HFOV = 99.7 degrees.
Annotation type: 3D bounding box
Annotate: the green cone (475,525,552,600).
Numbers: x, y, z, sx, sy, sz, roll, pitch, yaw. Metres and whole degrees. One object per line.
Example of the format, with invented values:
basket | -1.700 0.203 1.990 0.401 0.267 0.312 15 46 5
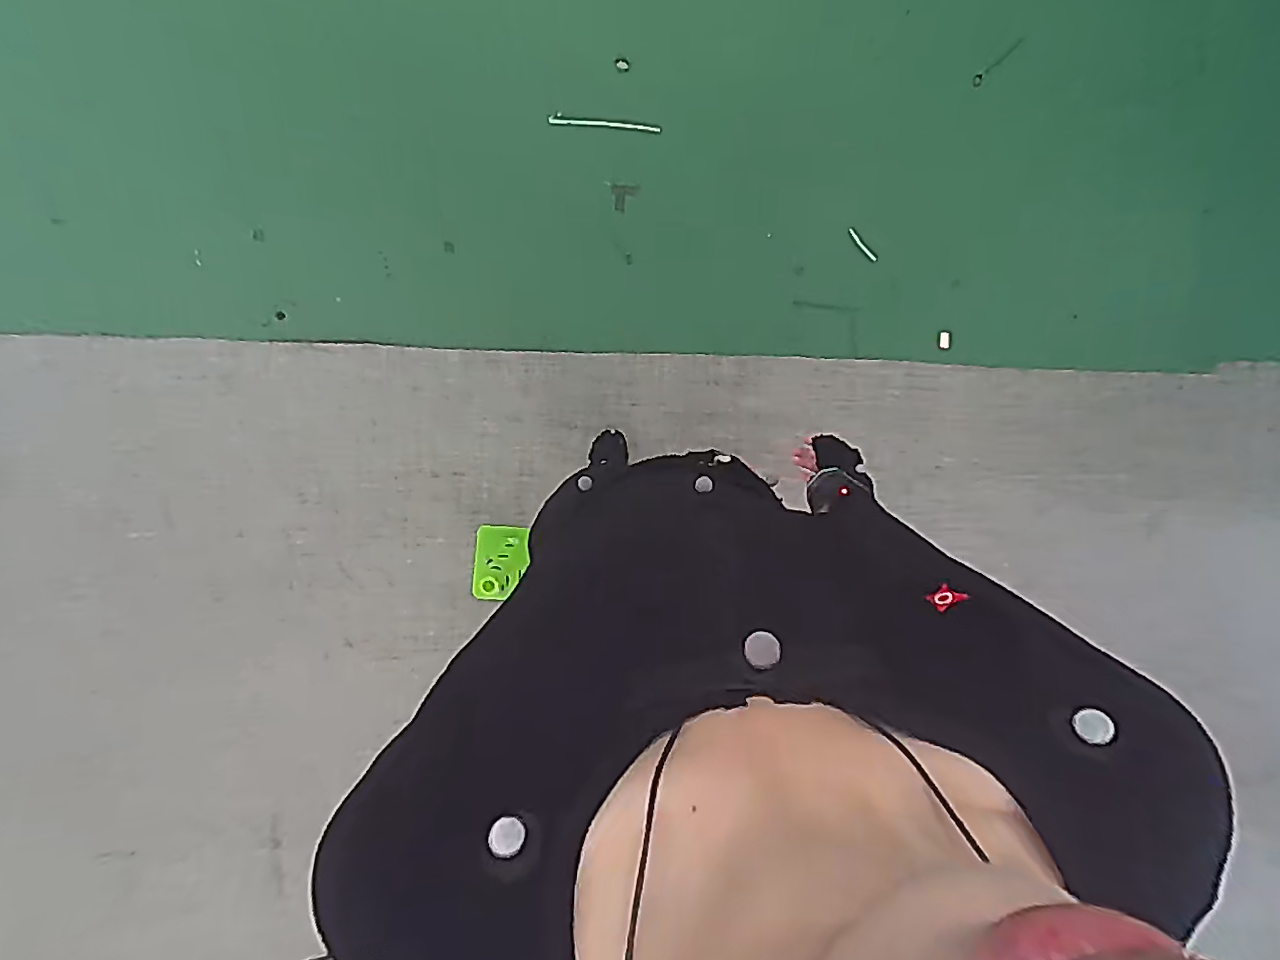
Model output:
green cone | -0.328 0.223 1.295 0.200 0.368 0.202 3 89 -5
